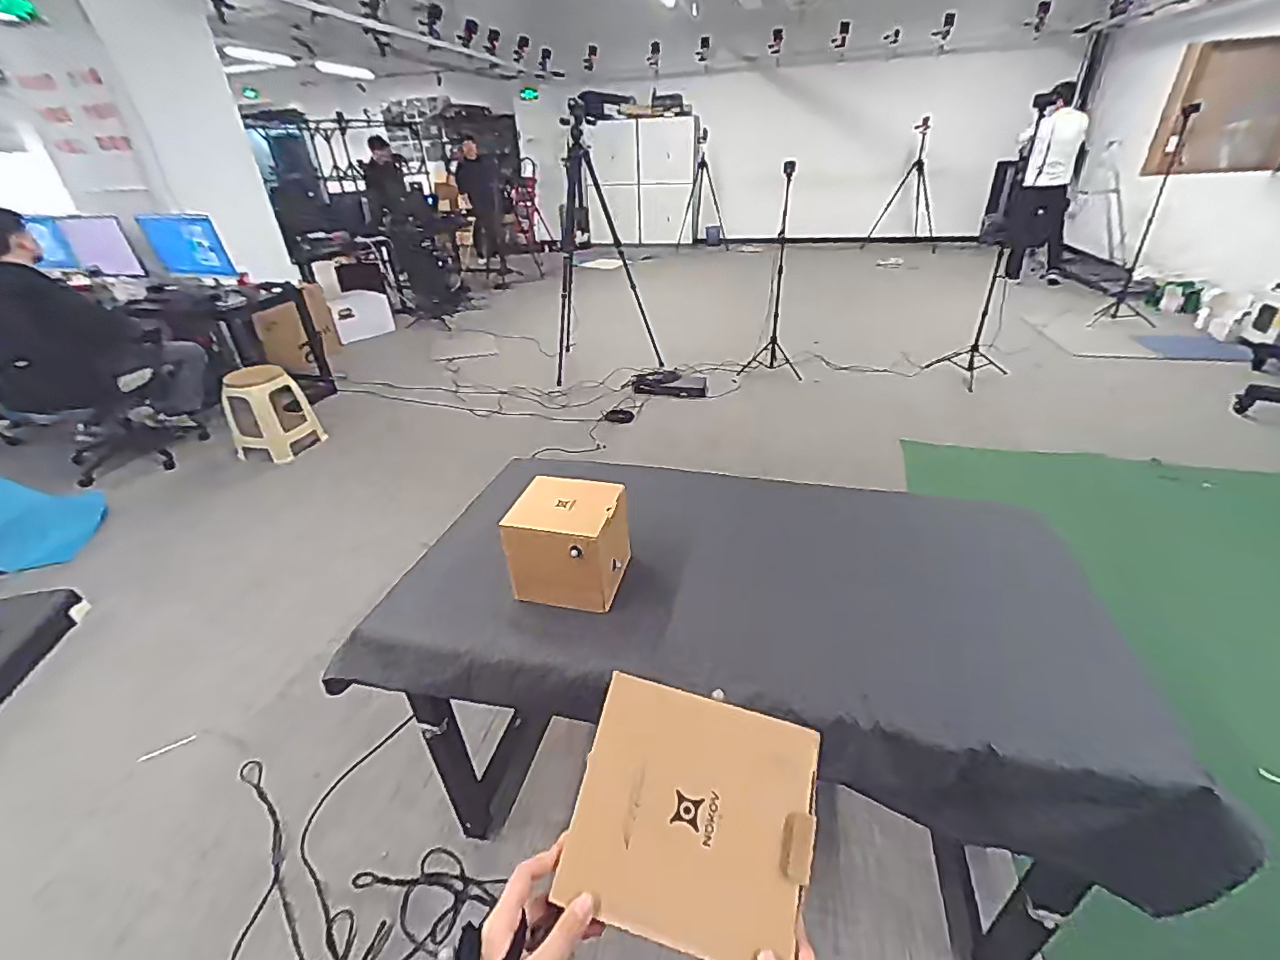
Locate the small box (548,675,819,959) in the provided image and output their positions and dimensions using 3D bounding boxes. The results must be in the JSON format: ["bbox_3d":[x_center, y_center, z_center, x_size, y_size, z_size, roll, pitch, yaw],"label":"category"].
[{"bbox_3d":[0.042,0.289,0.475,0.179,0.176,0.168,12,61,10],"label":"small box"}]

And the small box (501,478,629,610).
[{"bbox_3d":[-0.125,0.113,0.979,0.179,0.176,0.168,5,31,13],"label":"small box"}]
